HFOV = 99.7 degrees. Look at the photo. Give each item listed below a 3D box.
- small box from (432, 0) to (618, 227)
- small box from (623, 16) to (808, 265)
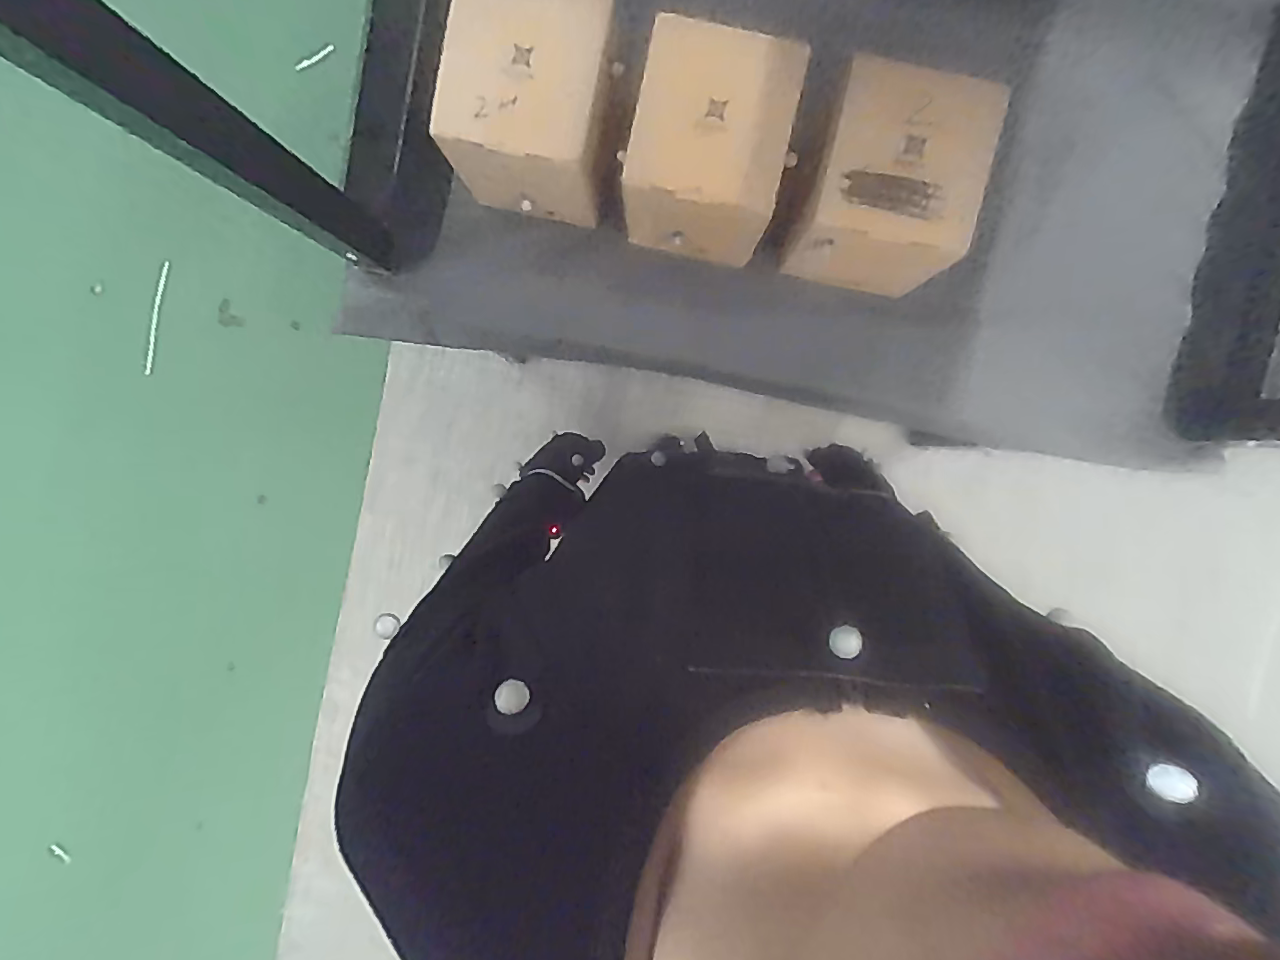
[{"bbox_3d":[-0.122,-0.436,0.646,0.168,0.176,0.179,12,94,0],"label":"small box"},{"bbox_3d":[0.078,-0.385,0.647,0.168,0.176,0.179,13,94,-1],"label":"small box"}]
